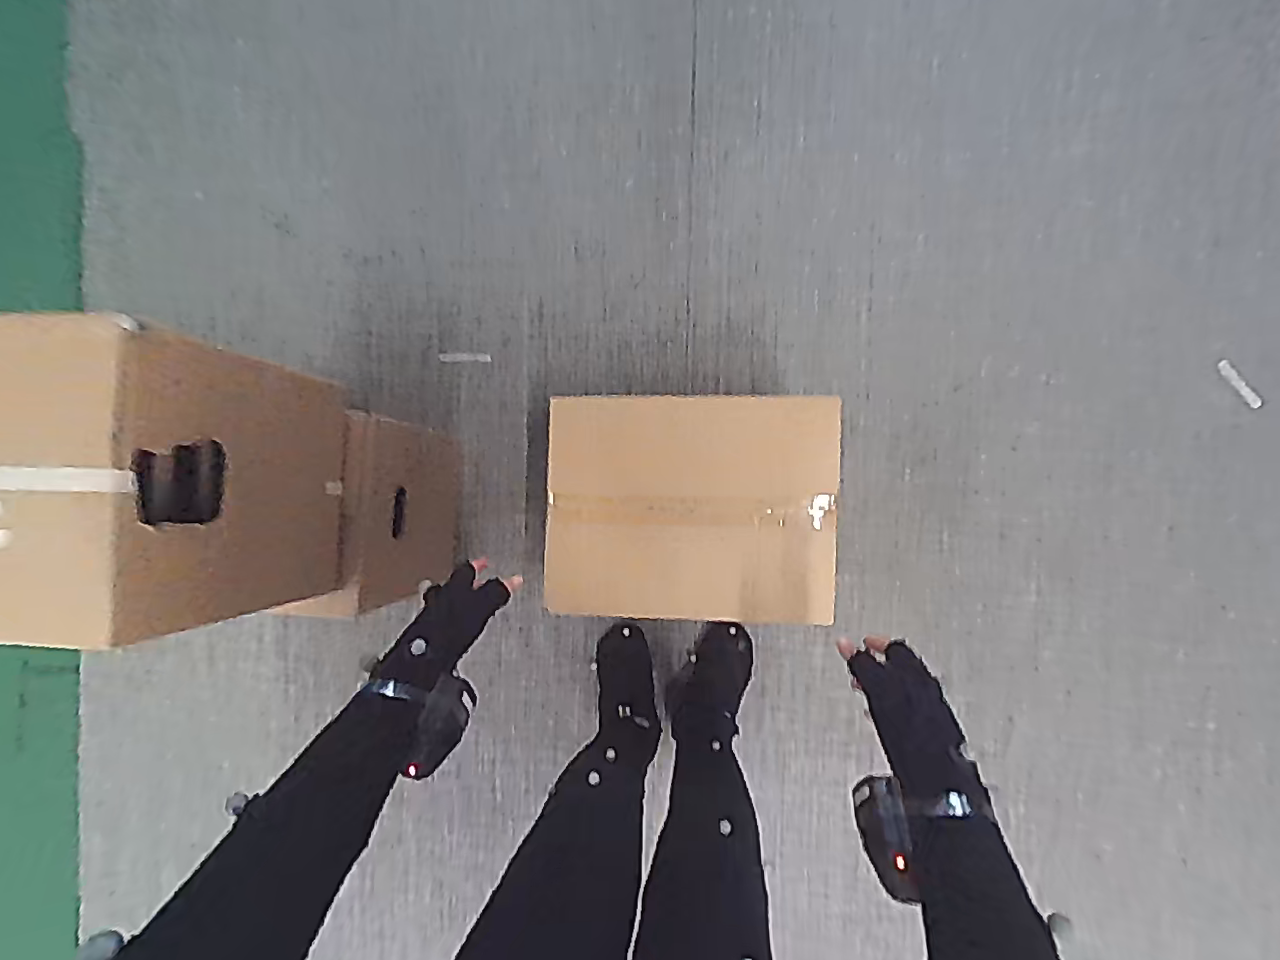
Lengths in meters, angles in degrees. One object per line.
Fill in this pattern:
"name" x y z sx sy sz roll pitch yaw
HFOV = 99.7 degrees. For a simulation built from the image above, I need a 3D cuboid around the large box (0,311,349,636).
"large box" -0.652 -0.002 0.670 0.408 0.320 0.320 2 87 5
